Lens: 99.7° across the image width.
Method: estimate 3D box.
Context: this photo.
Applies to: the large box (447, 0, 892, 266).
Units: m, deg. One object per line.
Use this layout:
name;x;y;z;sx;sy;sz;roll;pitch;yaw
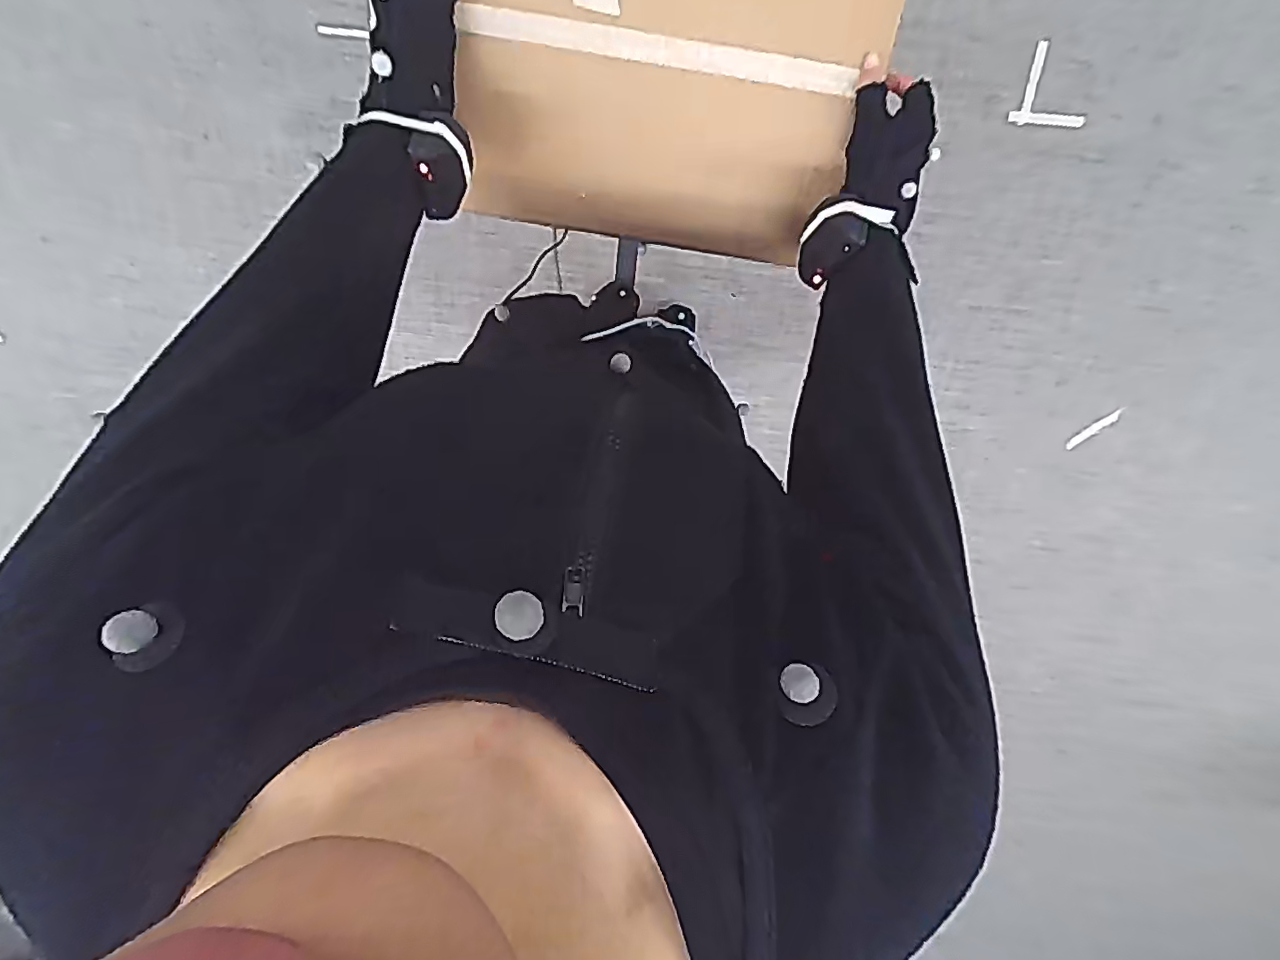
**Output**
large box;0.028;-0.451;0.640;0.408;0.320;0.320;10;112;-1
